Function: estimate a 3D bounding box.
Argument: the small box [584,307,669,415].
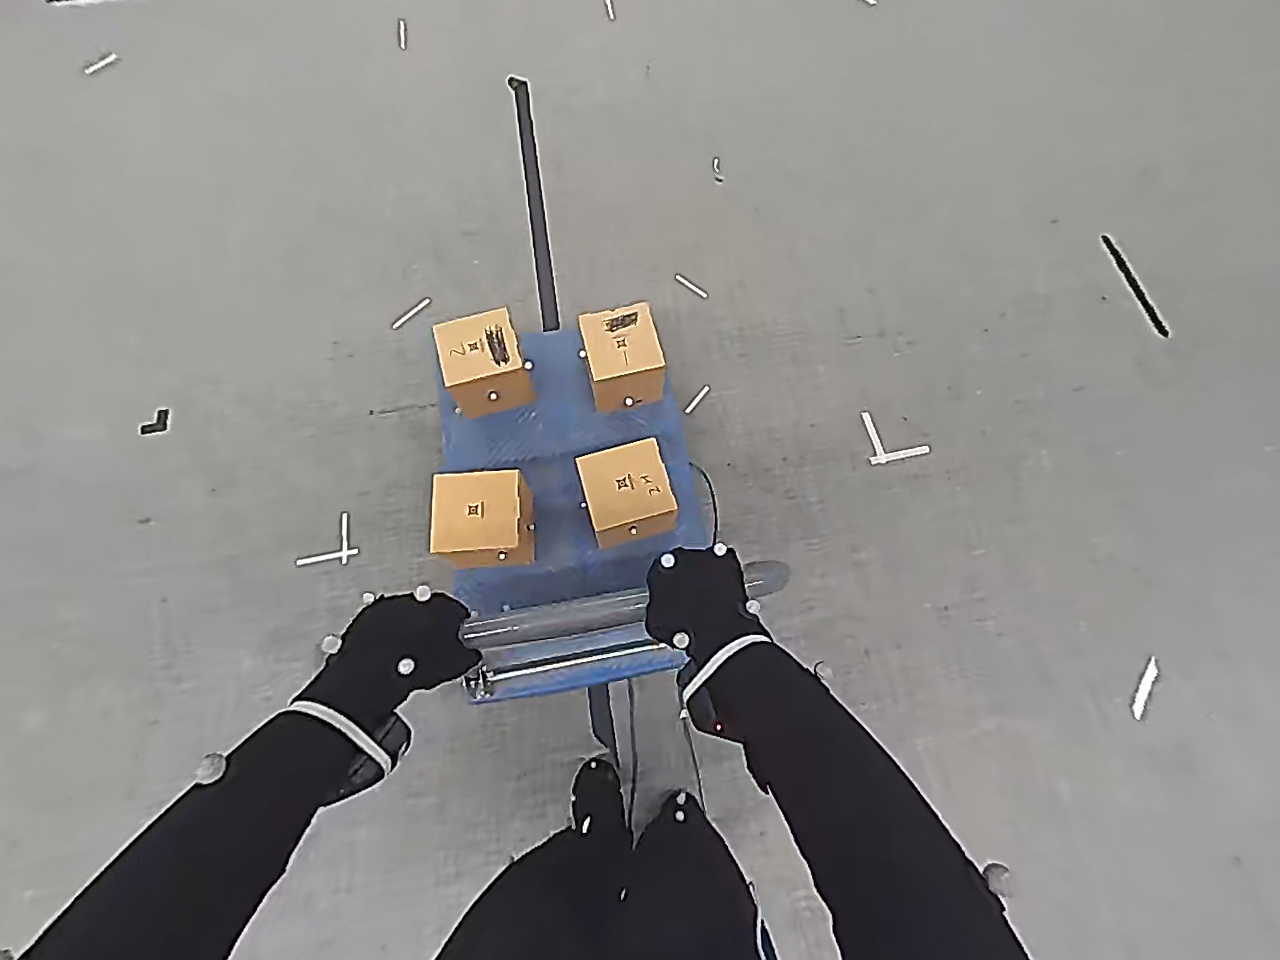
[{"bbox_3d":[-0.034,-0.281,1.297,0.168,0.176,0.179,-13,73,-5],"label":"small box"}]

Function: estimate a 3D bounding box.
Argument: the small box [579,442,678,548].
[{"bbox_3d":[-0.023,0.040,1.186,0.179,0.176,0.168,-14,72,-5],"label":"small box"}]

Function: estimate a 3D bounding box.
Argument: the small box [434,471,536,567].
[{"bbox_3d":[-0.325,0.090,1.166,0.179,0.176,0.168,-3,71,-3],"label":"small box"}]
